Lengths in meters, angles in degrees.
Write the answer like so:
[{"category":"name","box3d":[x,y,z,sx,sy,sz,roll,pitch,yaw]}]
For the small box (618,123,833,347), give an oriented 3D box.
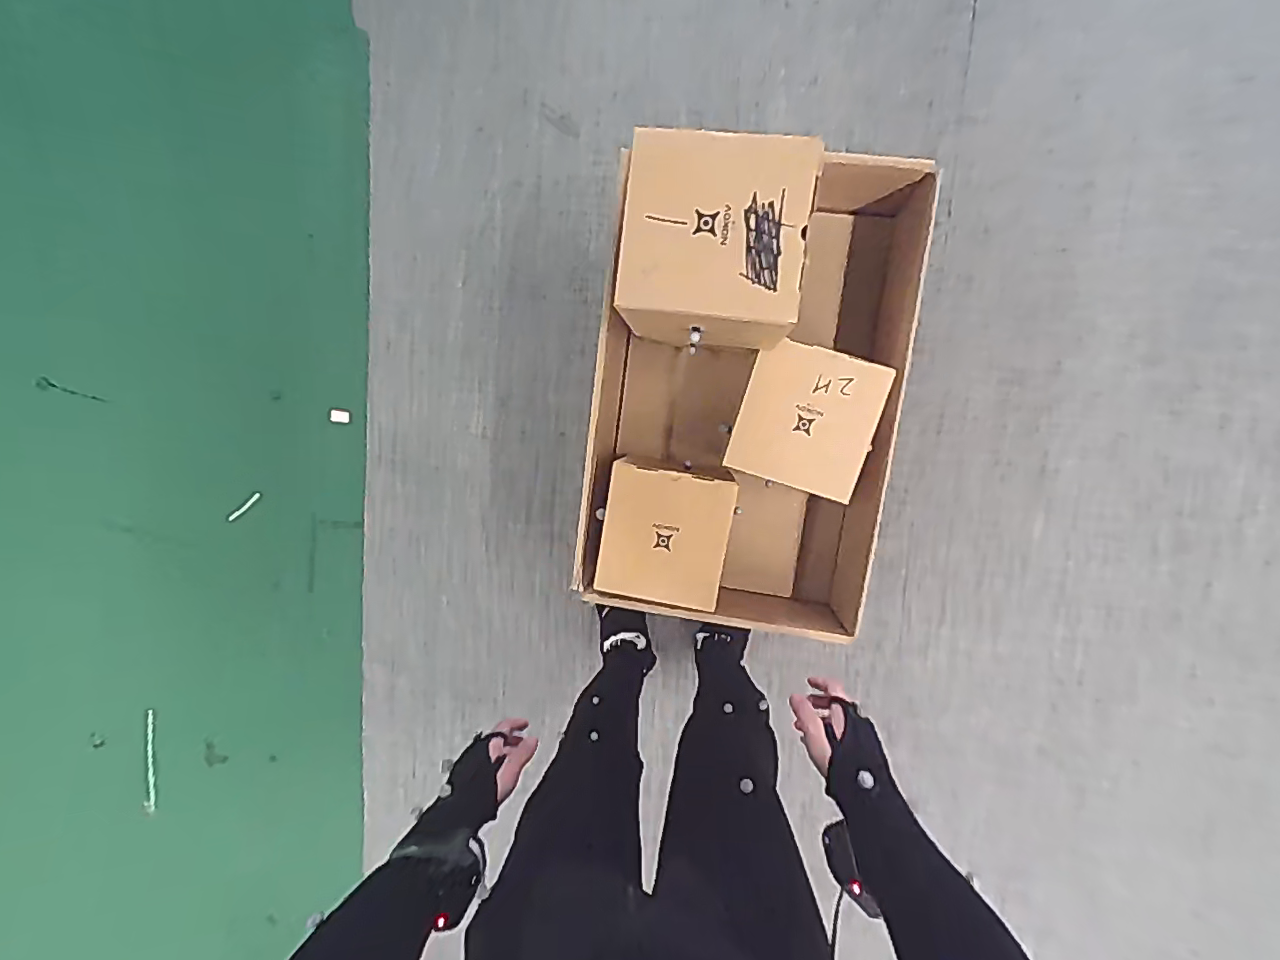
[{"category":"small box","box3d":[0.085,-0.241,0.574,0.179,0.176,0.168,9,96,7]}]
